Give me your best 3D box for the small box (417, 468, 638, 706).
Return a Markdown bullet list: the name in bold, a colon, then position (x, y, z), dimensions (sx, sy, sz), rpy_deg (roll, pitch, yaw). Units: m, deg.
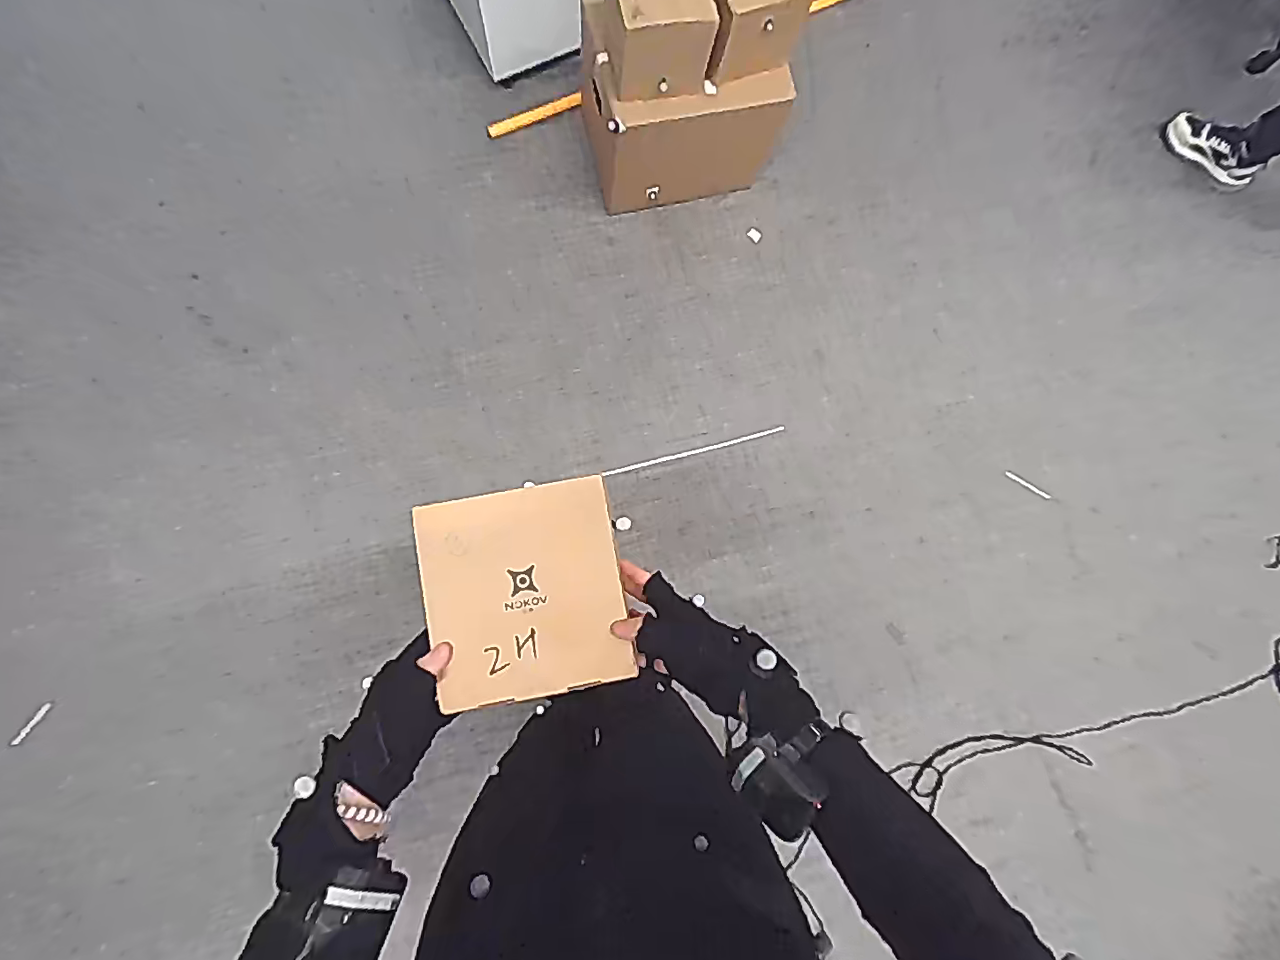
- **small box**: position (-0.099, 0.097, 0.531), dimensions (0.168, 0.176, 0.179), rpy_deg (-10, 84, -2)
